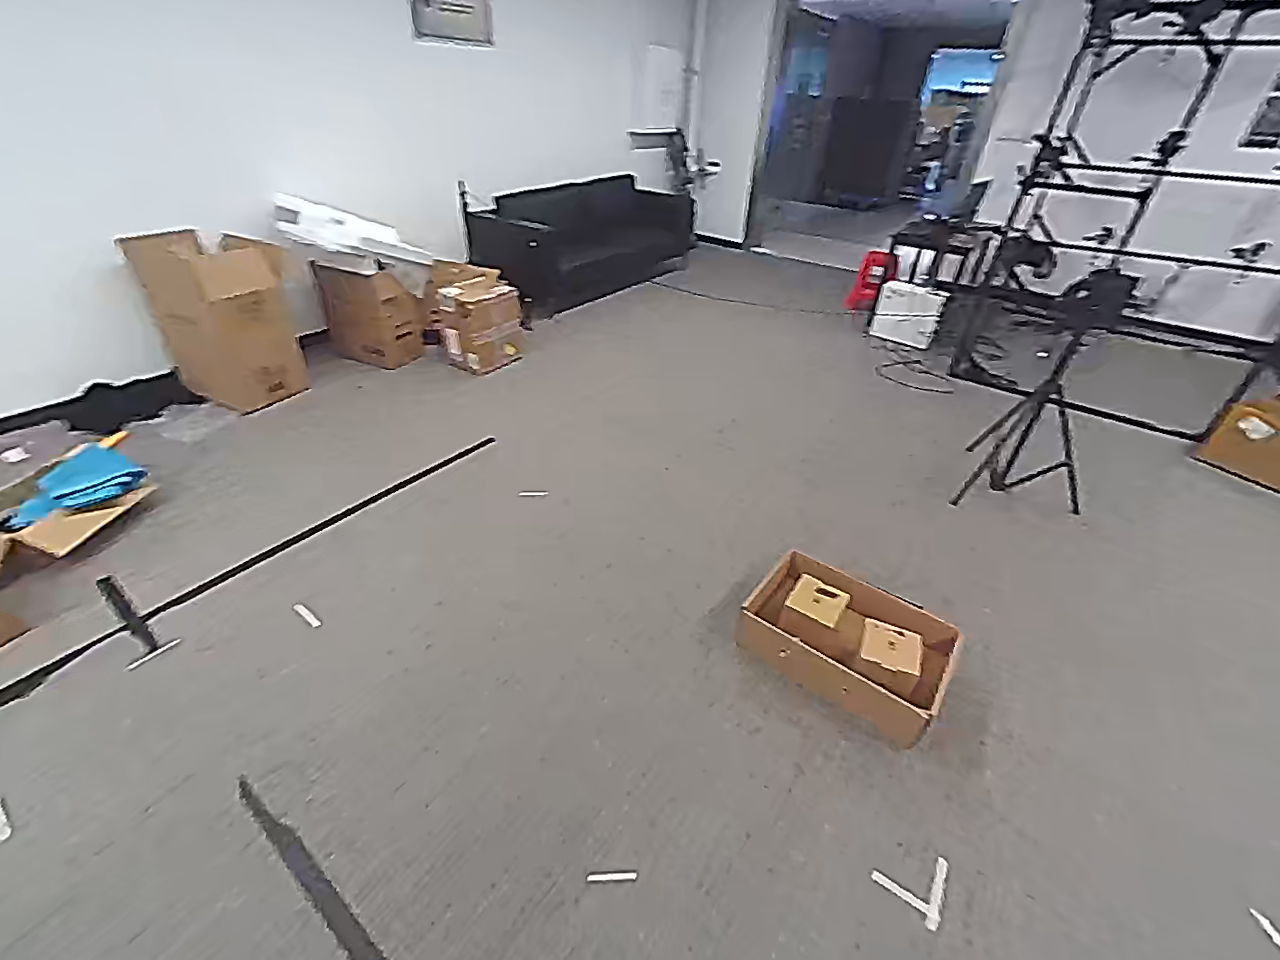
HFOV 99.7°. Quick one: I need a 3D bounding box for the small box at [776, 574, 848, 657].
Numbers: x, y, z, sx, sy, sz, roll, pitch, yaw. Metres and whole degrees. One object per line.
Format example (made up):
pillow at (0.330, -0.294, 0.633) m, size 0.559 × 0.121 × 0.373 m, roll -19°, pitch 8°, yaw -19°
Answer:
small box at (0.583, 0.461, 1.846) m, size 0.168 × 0.176 × 0.179 m, roll 24°, pitch 41°, yaw 26°
